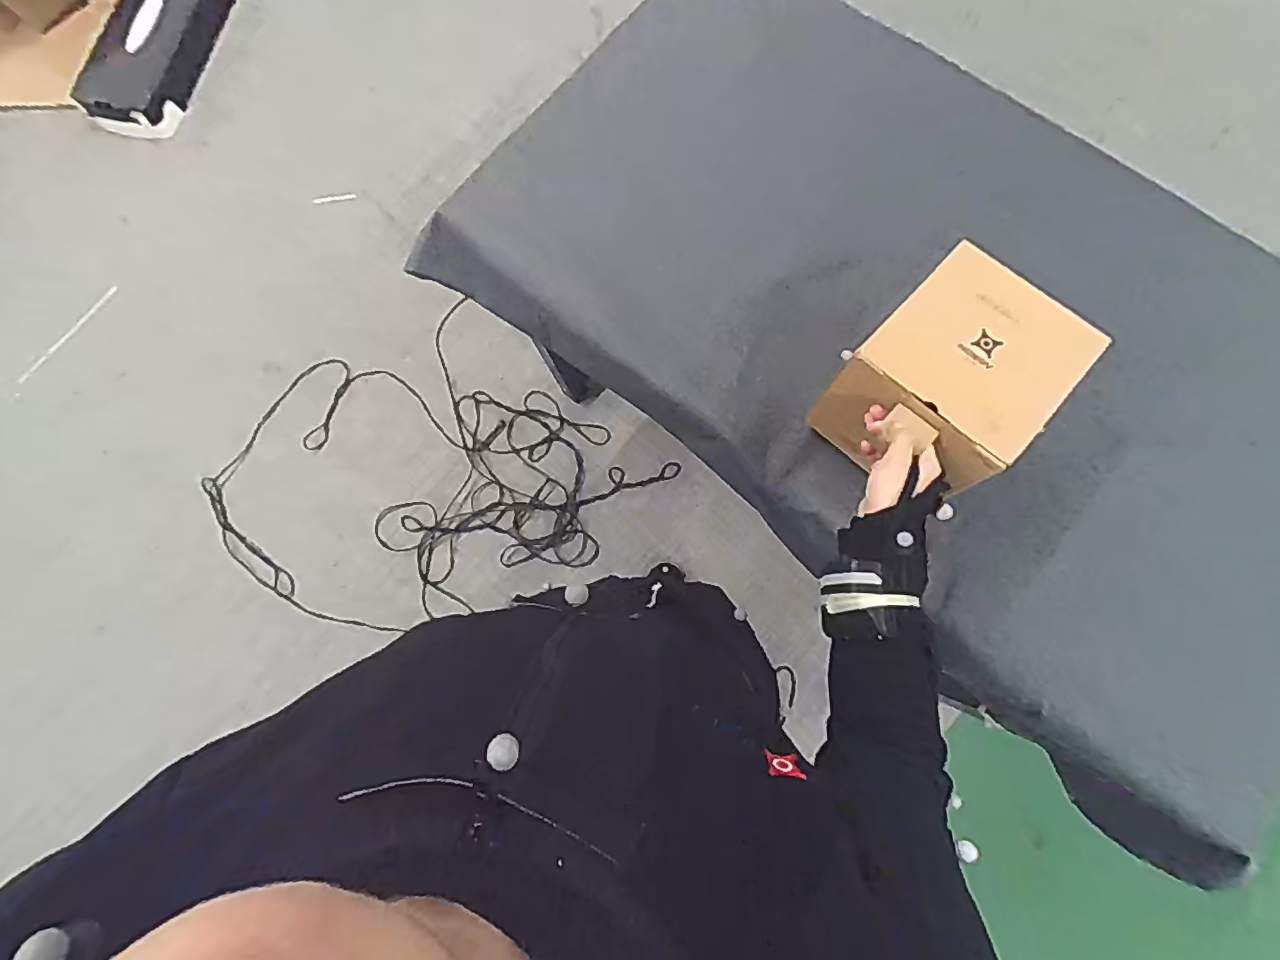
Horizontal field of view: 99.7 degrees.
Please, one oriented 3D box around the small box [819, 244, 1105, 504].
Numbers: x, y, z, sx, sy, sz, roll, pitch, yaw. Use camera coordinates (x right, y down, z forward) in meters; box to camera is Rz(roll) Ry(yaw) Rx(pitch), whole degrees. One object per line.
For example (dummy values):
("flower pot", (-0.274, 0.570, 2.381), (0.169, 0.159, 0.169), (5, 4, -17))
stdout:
("small box", (0.316, -0.098, 0.576), (0.168, 0.176, 0.179), (42, 78, 10))
